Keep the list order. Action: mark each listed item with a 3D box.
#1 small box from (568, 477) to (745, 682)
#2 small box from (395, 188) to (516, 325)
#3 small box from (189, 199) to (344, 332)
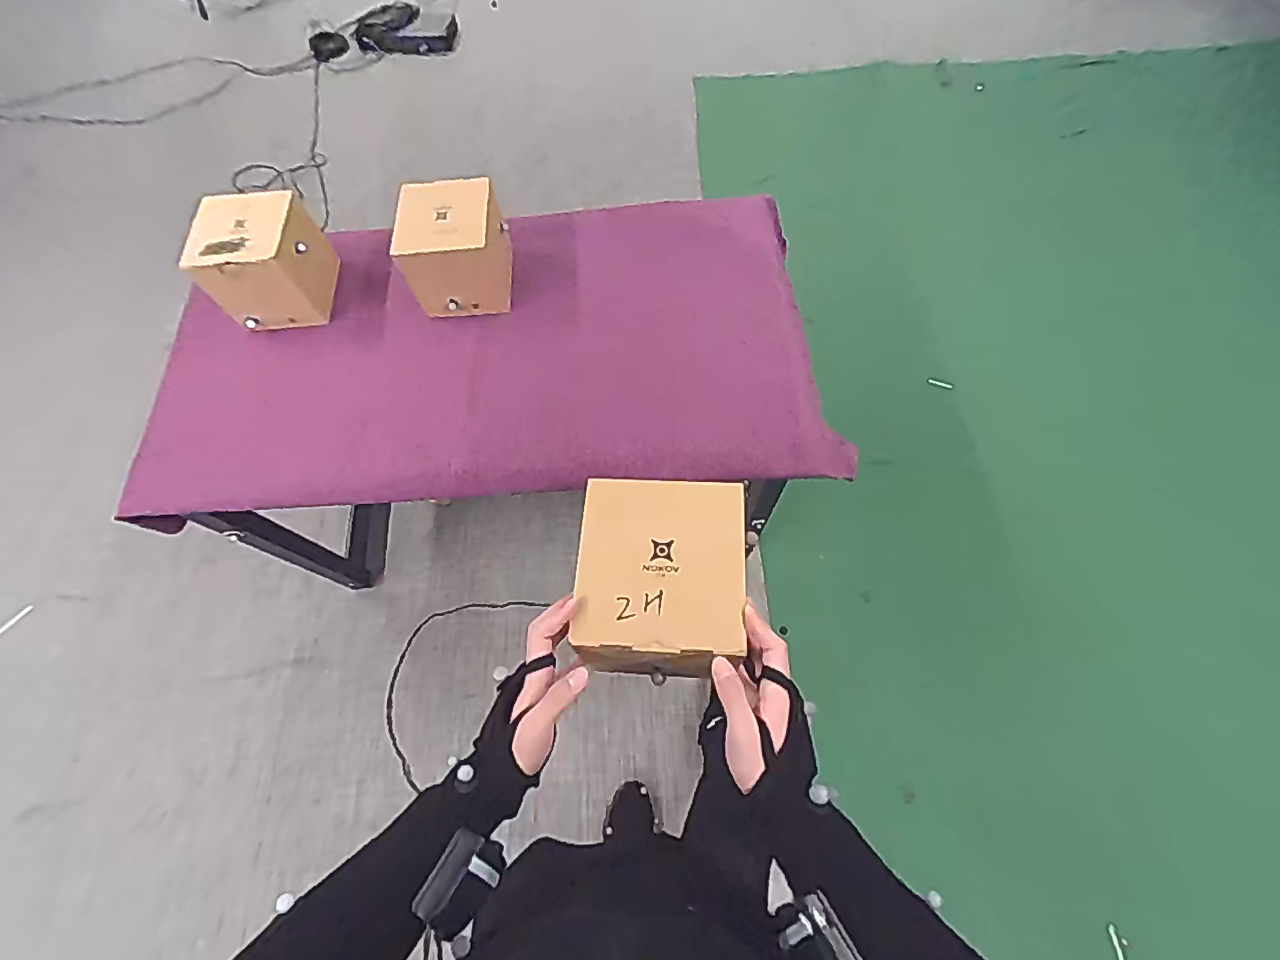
[{"bbox_3d":[0.026,0.114,0.602,0.168,0.176,0.179,2,62,6],"label":"small box"},{"bbox_3d":[-0.341,-0.423,1.033,0.168,0.176,0.179,-4,66,1],"label":"small box"},{"bbox_3d":[-0.698,-0.401,1.036,0.168,0.176,0.179,-4,65,0],"label":"small box"}]
